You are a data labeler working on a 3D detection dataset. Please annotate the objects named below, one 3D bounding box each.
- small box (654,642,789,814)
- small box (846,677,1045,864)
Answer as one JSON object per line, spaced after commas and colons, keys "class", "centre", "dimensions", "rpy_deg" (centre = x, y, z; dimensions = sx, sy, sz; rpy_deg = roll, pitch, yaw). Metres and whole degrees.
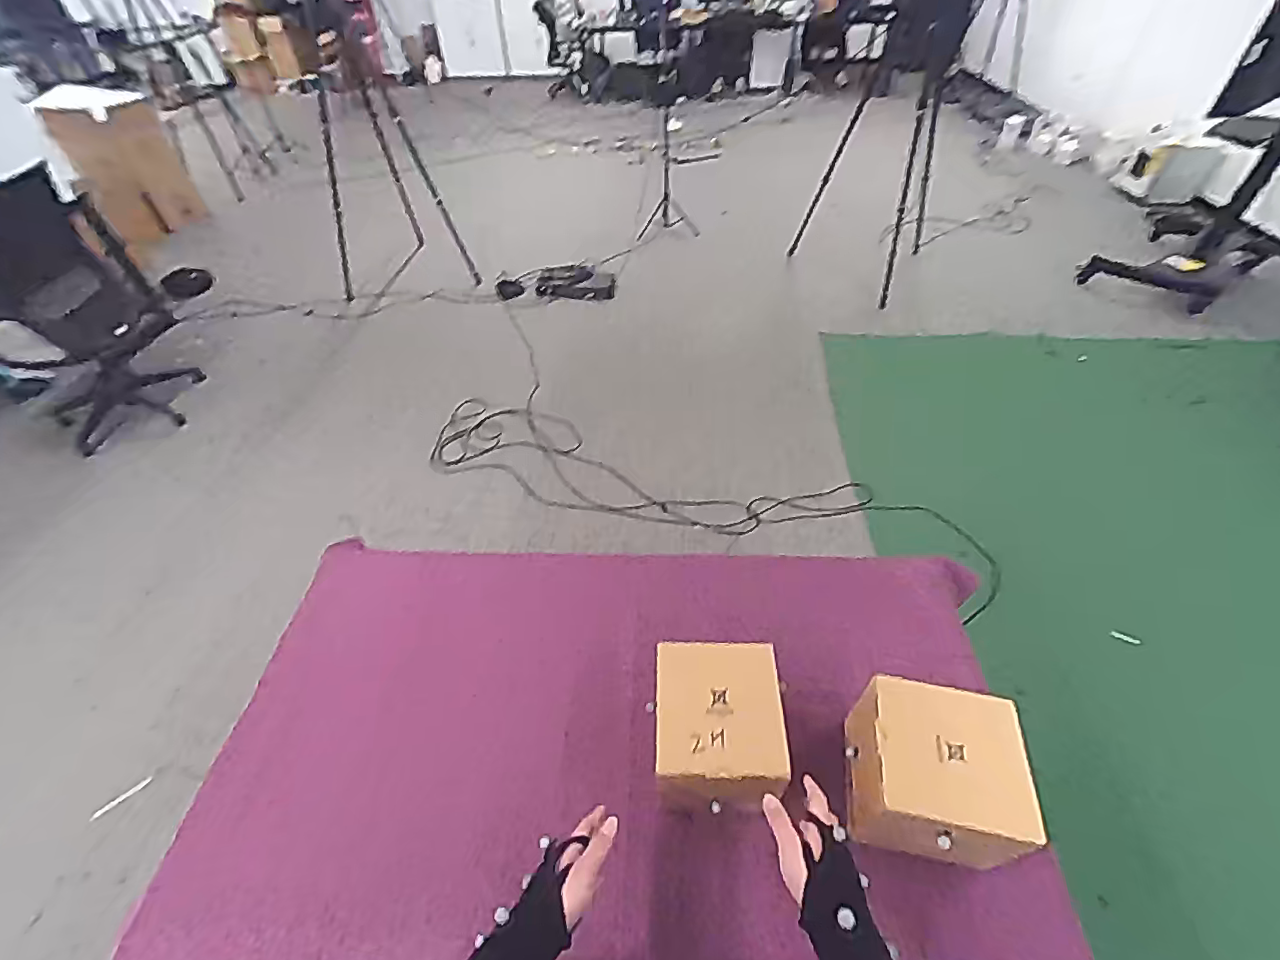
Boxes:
{"class": "small box", "centre": [0.104, 0.350, 0.767], "dimensions": [0.168, 0.176, 0.179], "rpy_deg": [0, 47, 4]}
{"class": "small box", "centre": [0.384, 0.388, 0.718], "dimensions": [0.179, 0.176, 0.168], "rpy_deg": [7, 48, 12]}
